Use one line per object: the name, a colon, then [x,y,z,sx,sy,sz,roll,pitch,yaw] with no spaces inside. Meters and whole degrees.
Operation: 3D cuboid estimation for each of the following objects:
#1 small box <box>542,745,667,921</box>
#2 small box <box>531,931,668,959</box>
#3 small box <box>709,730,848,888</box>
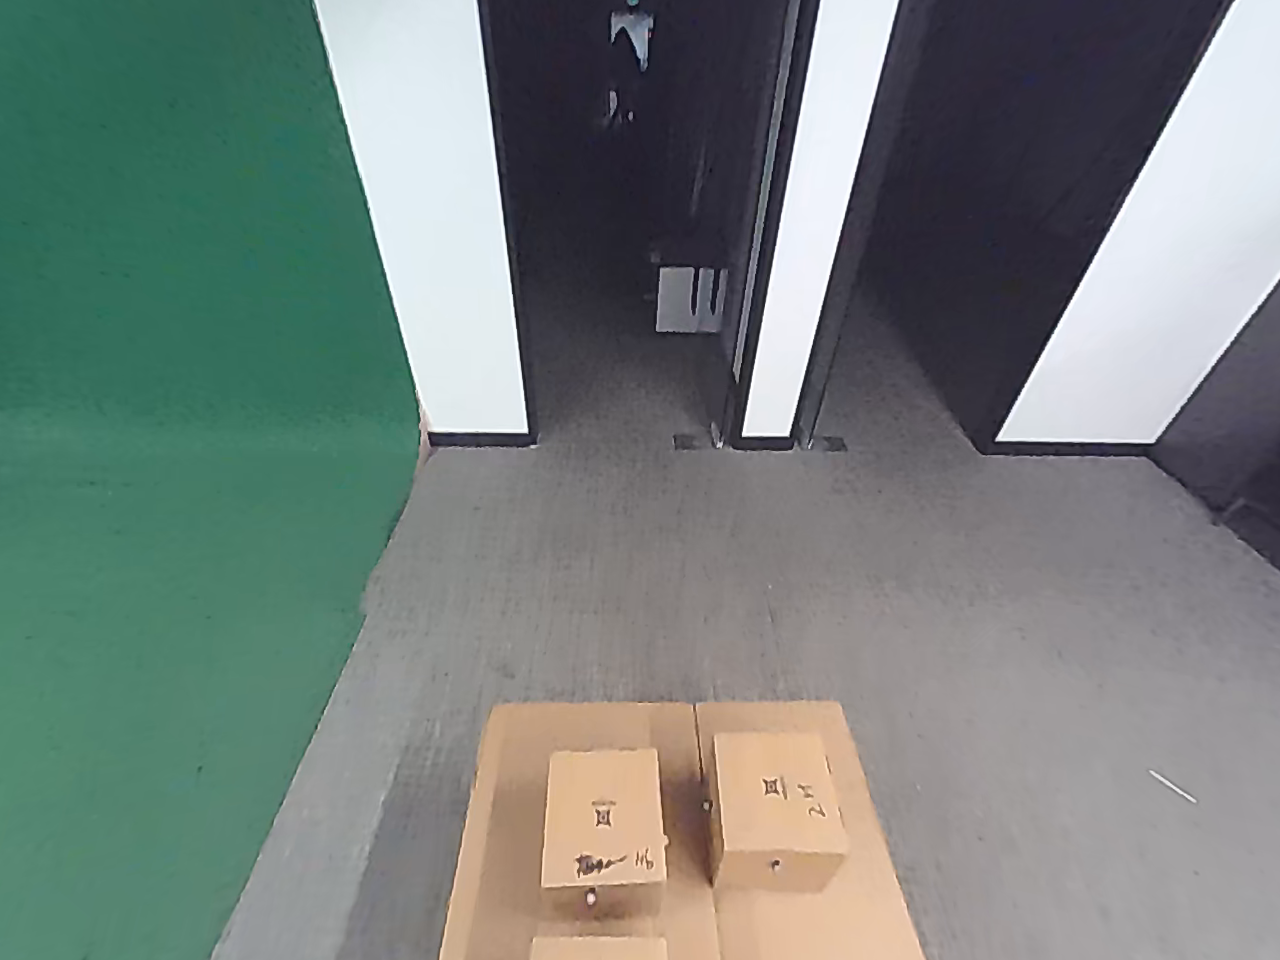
small box: [-0.050,0.528,0.815,0.168,0.176,0.179,-1,37,-2]
small box: [-0.050,0.668,0.642,0.168,0.176,0.179,1,38,-1]
small box: [0.201,0.514,0.846,0.179,0.176,0.168,1,39,1]
